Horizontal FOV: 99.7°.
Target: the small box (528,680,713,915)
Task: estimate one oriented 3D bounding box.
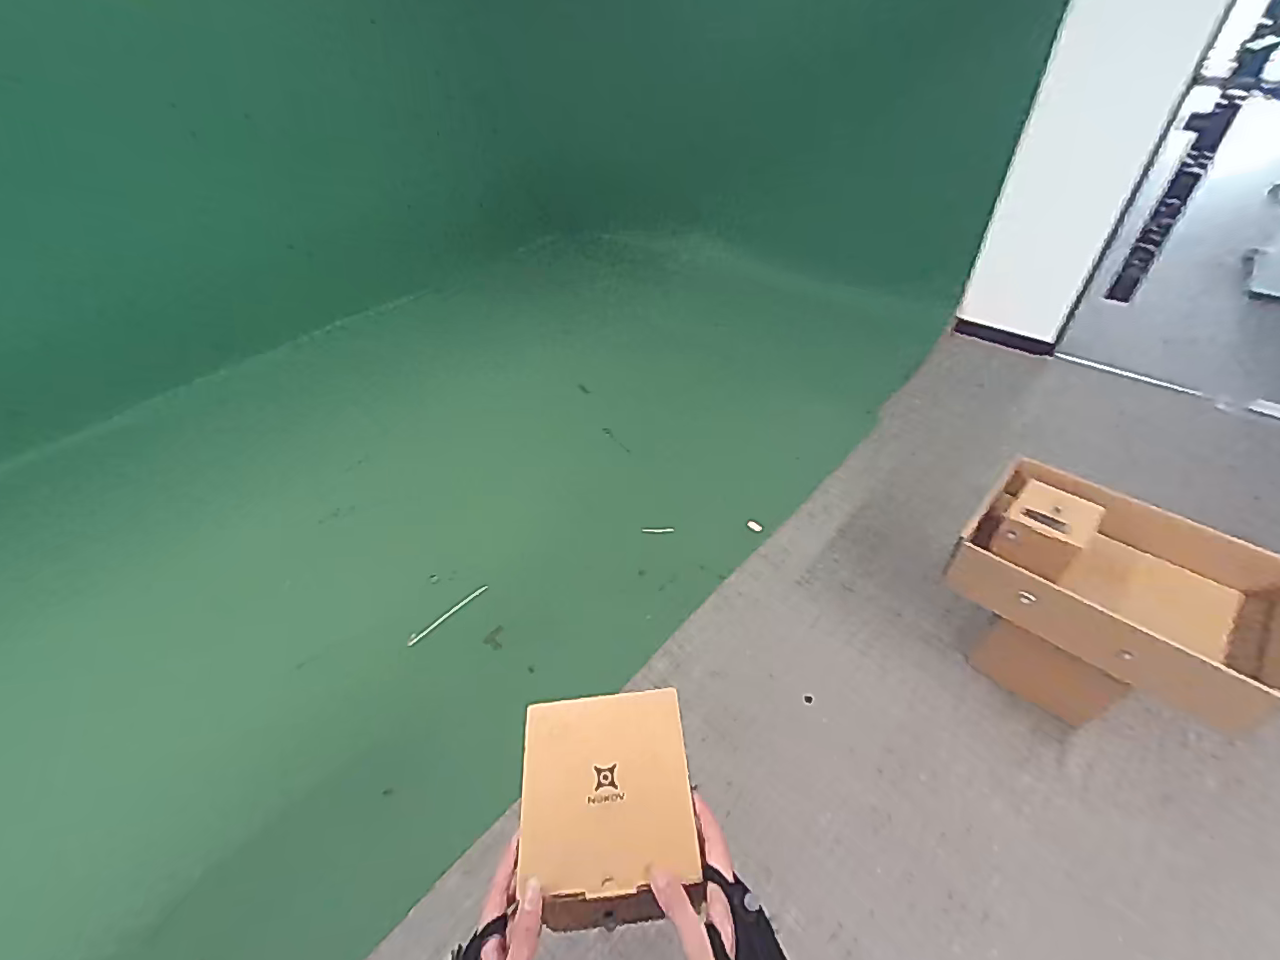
[{"bbox_3d":[-0.019,0.343,0.587,0.168,0.176,0.179,-5,45,-1],"label":"small box"}]
